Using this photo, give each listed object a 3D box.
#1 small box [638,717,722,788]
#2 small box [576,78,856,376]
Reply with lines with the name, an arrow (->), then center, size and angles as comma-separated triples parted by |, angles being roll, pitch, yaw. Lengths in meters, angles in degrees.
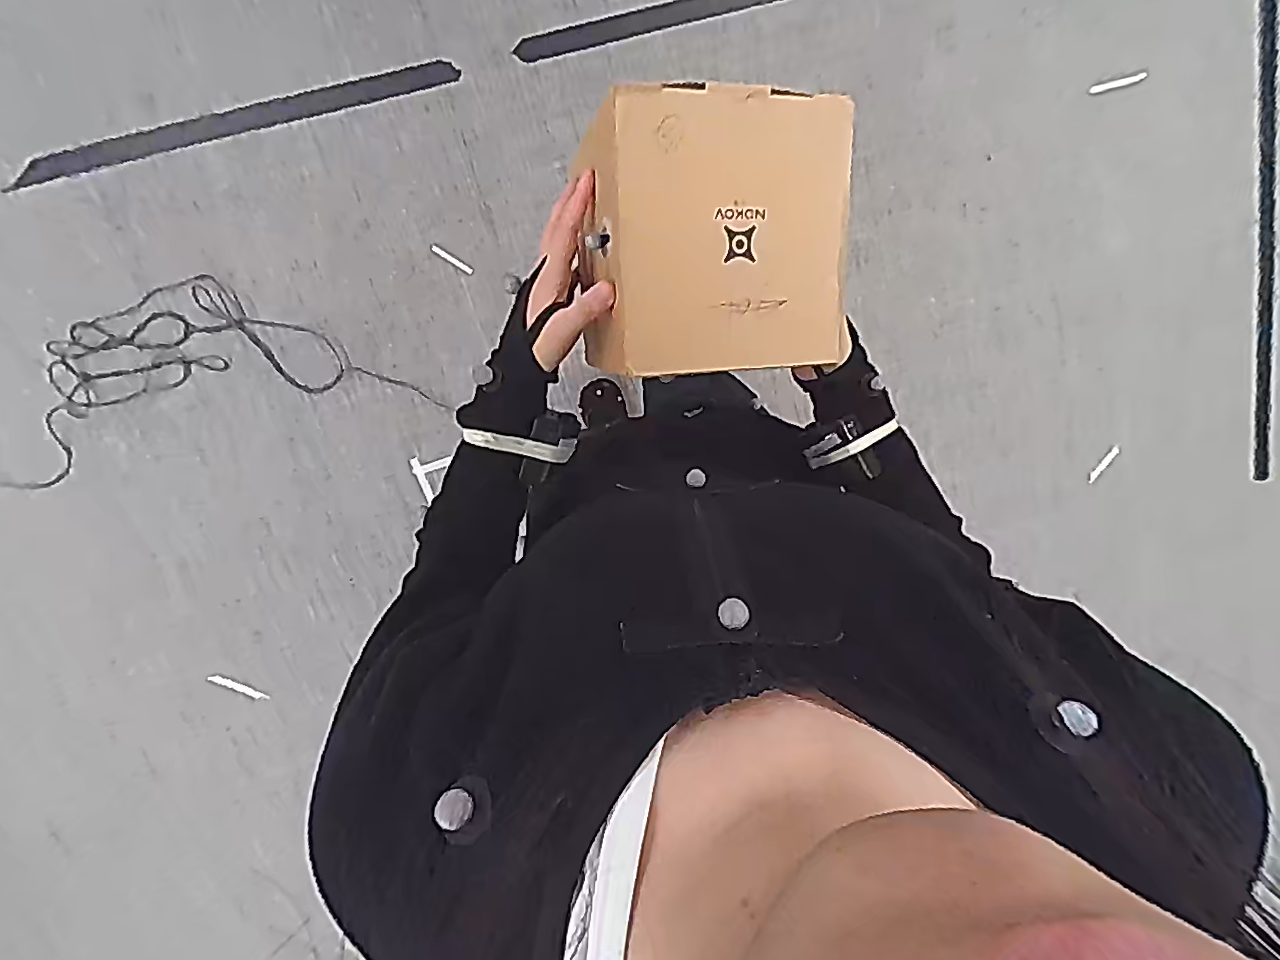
small box -> 0.099, 0.676, 1.248 | 0.168, 0.176, 0.179 | -15, 103, -3
small box -> 0.046, -0.180, 0.433 | 0.168, 0.176, 0.179 | -6, 107, -14
